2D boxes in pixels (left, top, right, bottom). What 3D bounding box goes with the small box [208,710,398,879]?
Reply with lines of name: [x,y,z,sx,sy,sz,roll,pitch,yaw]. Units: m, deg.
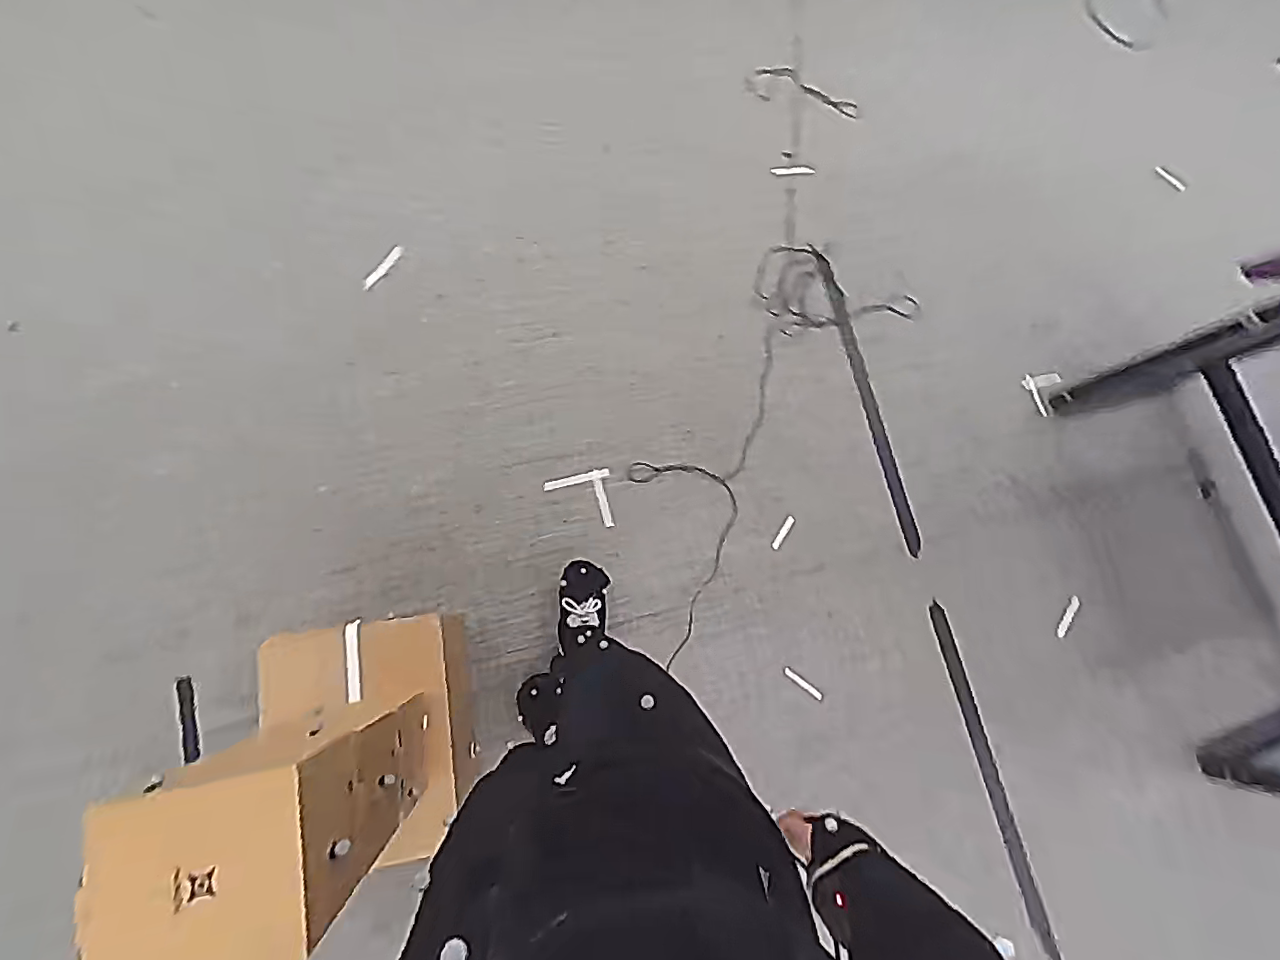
small box: [-0.425,0.412,0.705,0.179,0.176,0.168,-7,78,-12]

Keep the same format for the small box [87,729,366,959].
small box: [-0.395,0.372,0.550,0.179,0.176,0.168,-9,79,-11]
